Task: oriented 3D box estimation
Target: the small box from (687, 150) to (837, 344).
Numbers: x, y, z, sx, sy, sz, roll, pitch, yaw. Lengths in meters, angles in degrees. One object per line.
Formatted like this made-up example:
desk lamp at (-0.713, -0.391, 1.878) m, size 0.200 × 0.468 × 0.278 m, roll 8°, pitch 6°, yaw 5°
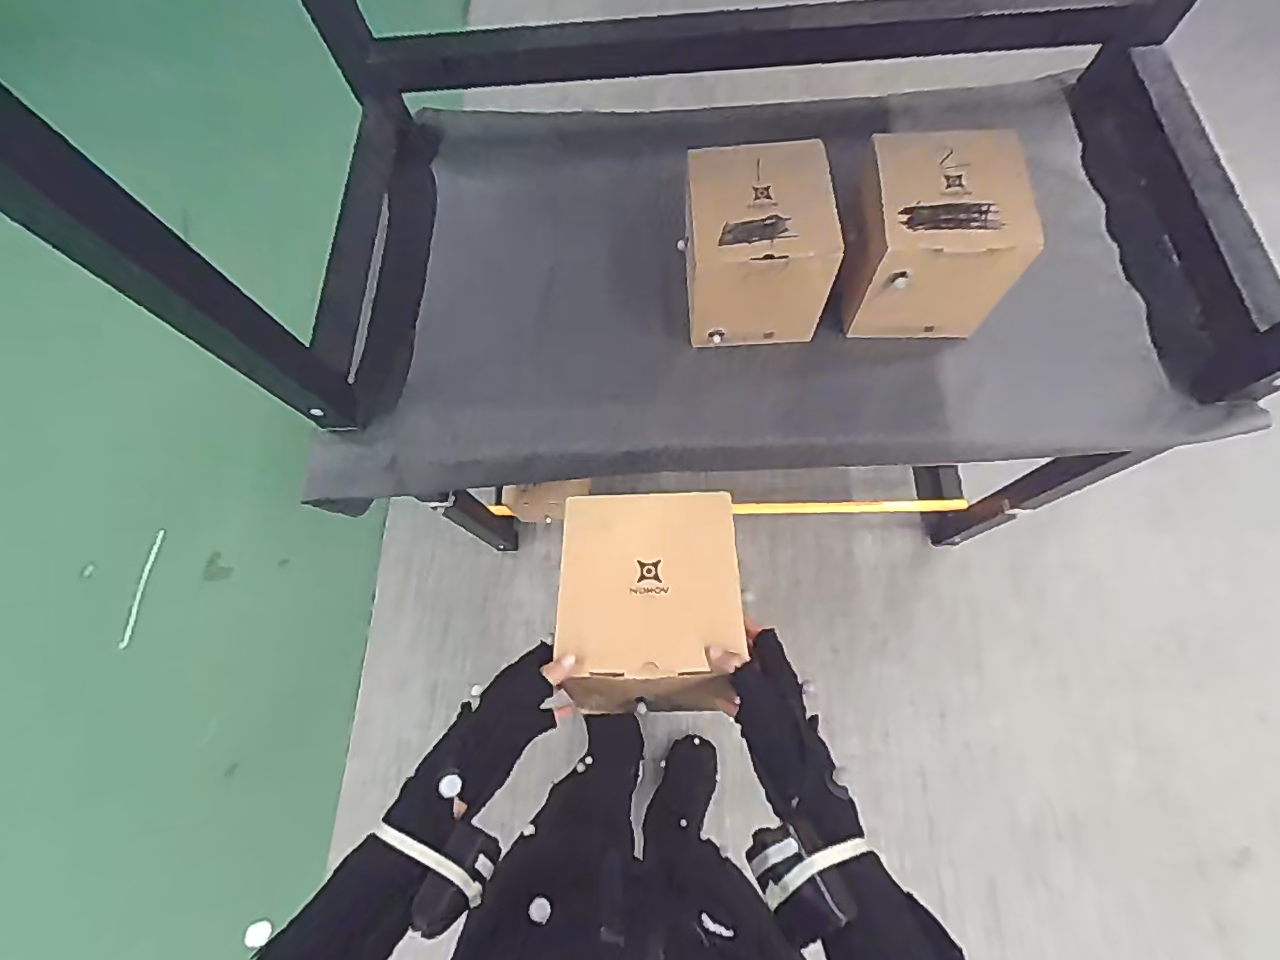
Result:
small box at (0.149, -0.295, 0.719) m, size 0.168 × 0.176 × 0.179 m, roll -3°, pitch 69°, yaw 4°
